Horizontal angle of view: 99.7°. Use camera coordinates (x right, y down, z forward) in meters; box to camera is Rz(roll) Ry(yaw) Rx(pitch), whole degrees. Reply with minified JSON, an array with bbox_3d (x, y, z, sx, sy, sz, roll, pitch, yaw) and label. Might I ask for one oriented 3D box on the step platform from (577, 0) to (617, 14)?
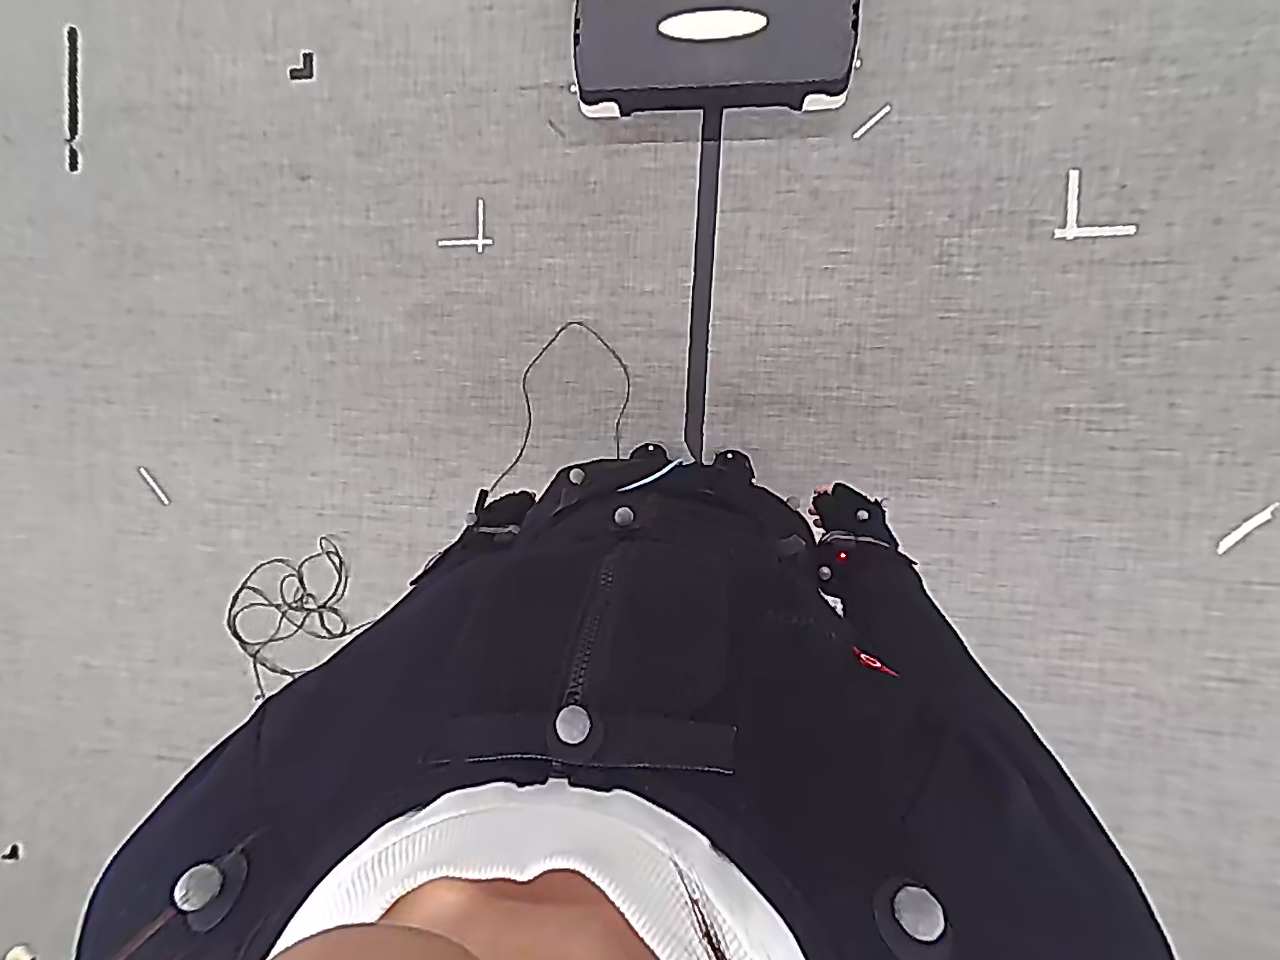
[{"bbox_3d":[0.156,-1.319,1.248,0.684,0.204,0.286,1,95,6],"label":"step platform"}]
